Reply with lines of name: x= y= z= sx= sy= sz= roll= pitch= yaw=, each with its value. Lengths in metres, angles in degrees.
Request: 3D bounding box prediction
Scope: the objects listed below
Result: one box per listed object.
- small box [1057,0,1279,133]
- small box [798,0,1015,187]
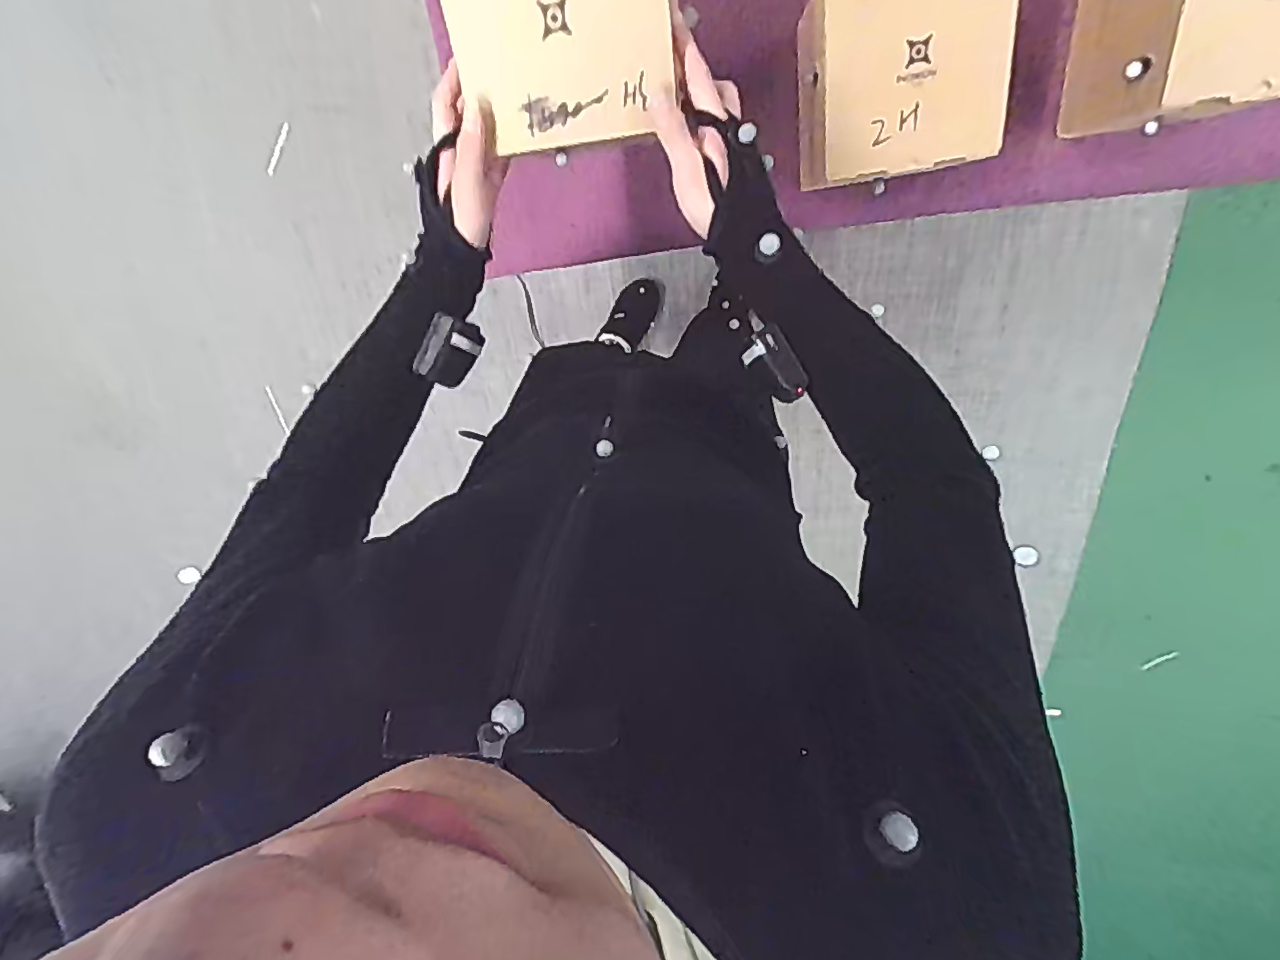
small box: x=0.555 y=-0.464 z=0.530 sx=0.168 sy=0.176 sz=0.179 roll=-4 pitch=116 yaw=8
small box: x=0.265 y=-0.428 z=0.578 sx=0.168 sy=0.176 sz=0.179 roll=-4 pitch=115 yaw=9
